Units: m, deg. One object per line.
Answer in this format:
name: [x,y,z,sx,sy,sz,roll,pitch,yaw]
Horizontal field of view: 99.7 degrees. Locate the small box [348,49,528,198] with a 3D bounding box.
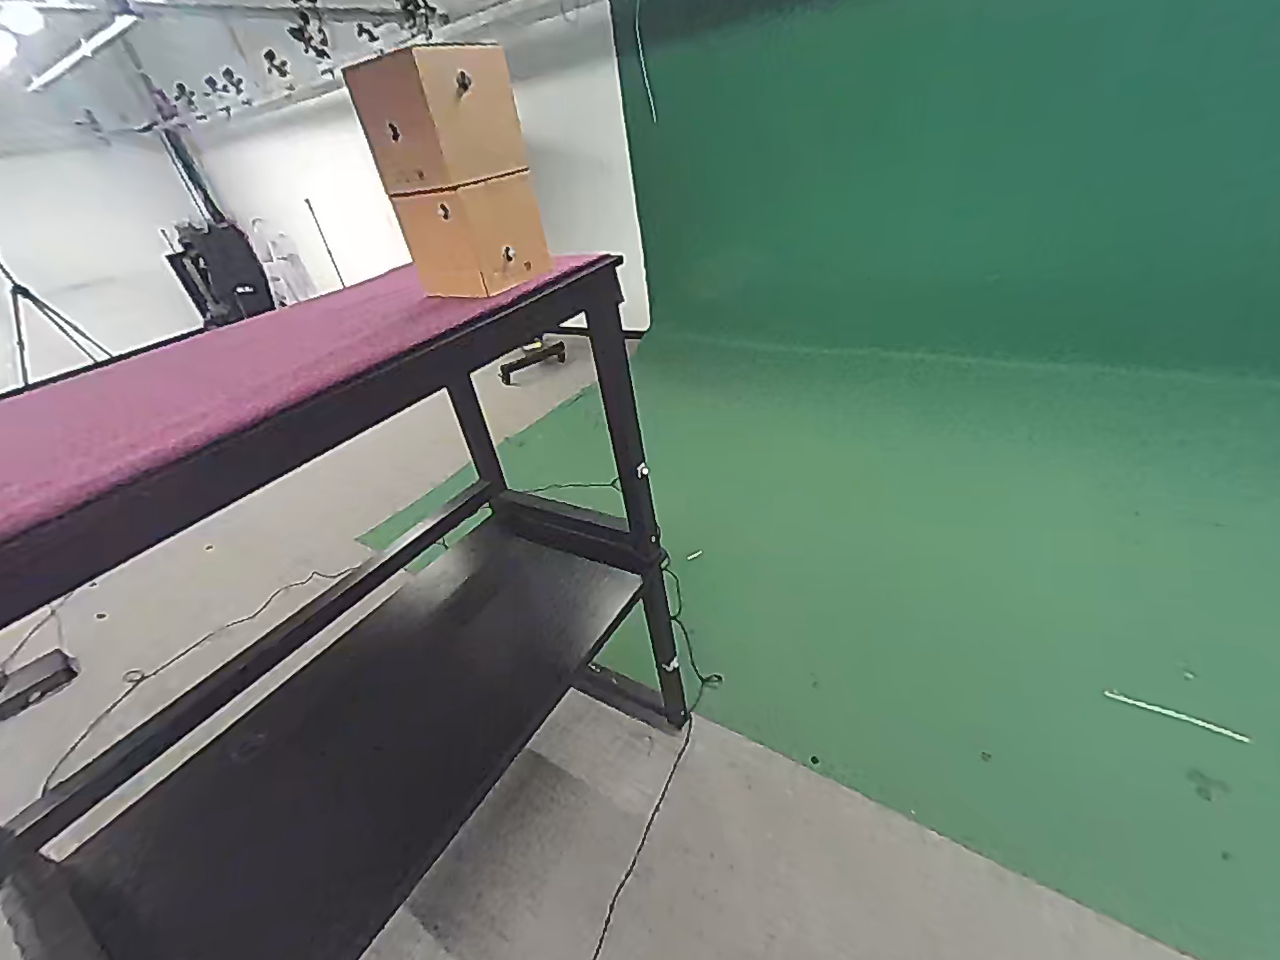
small box: [-0.302,-0.546,0.843,0.168,0.176,0.179,14,41,31]

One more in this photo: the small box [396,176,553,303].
small box: [-0.280,-0.415,0.941,0.179,0.176,0.168,14,40,31]
